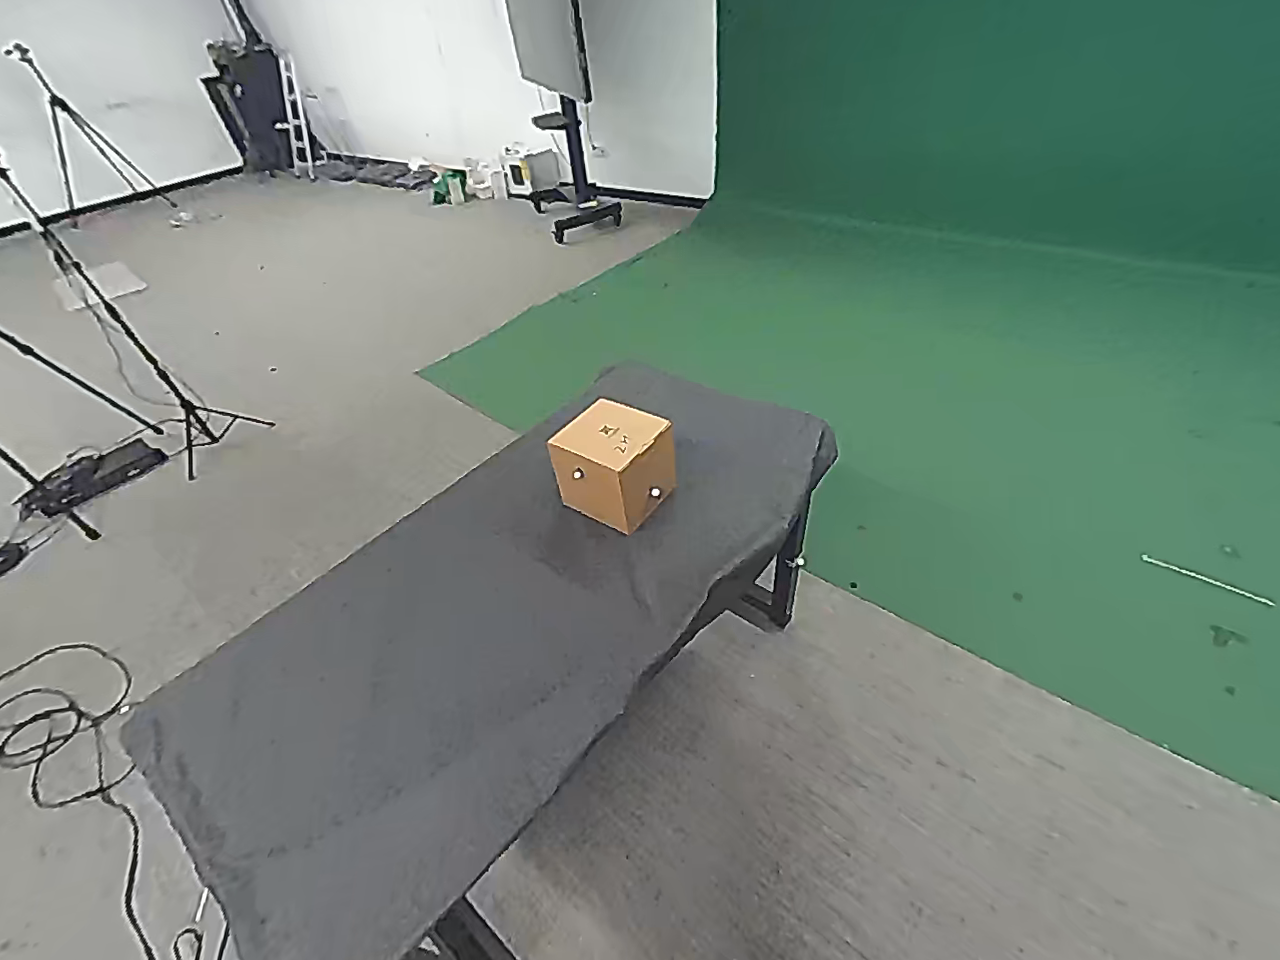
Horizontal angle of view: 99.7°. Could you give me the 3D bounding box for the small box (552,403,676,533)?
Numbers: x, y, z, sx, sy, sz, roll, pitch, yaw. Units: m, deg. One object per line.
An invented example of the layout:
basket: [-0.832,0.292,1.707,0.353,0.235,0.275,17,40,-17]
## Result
small box: [-0.044,-0.023,1.074,0.179,0.176,0.168,23,51,30]
